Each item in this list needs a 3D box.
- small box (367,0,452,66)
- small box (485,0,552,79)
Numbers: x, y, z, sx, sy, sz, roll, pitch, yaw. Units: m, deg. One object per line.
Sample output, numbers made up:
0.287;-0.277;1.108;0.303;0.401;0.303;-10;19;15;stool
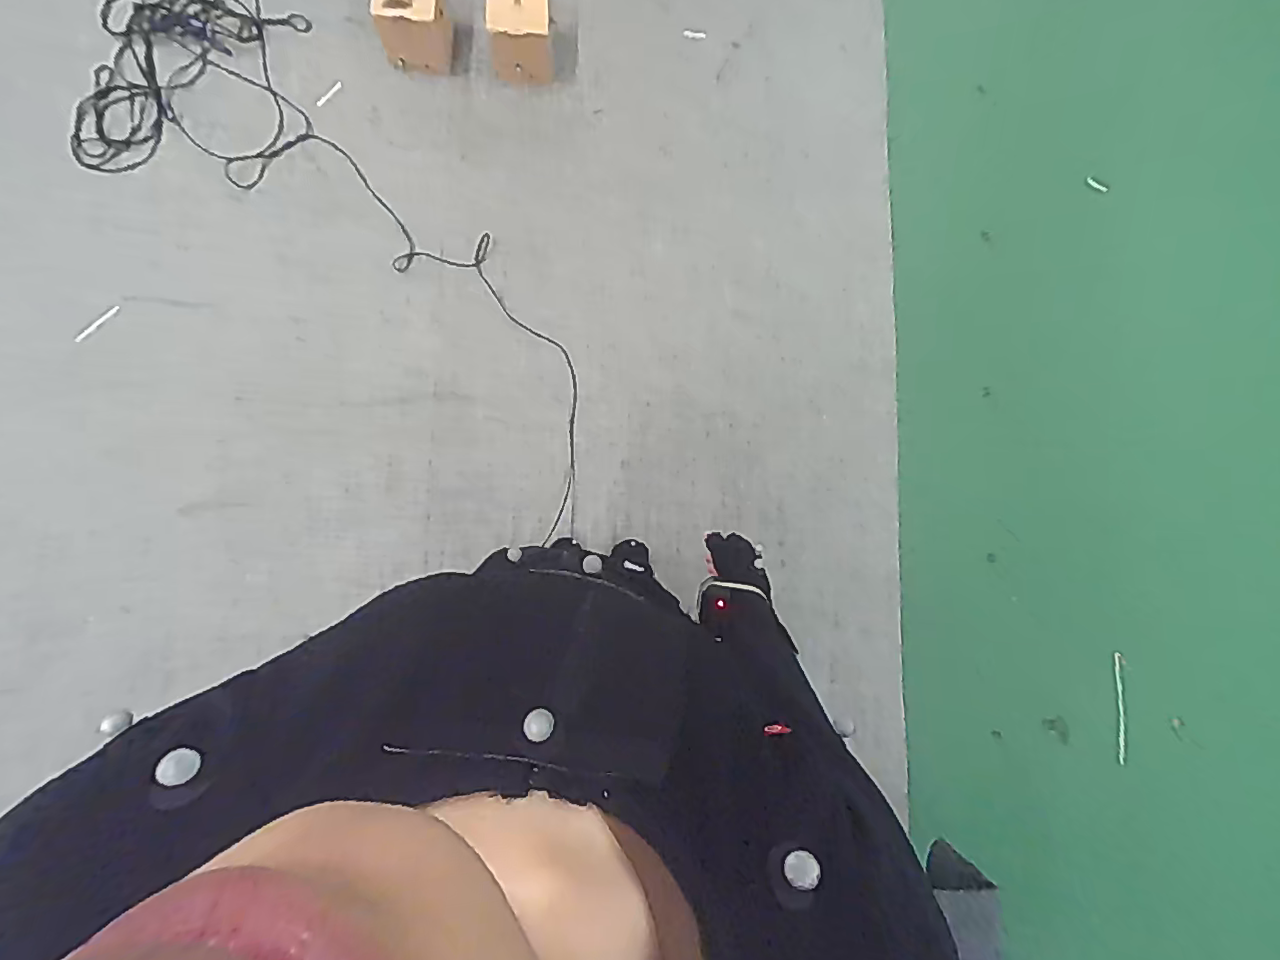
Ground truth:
-0.627;-1.293;1.492;0.168;0.176;0.179;4;84;-5;small box
-0.338;-1.279;1.517;0.168;0.176;0.179;-1;86;-5;small box
